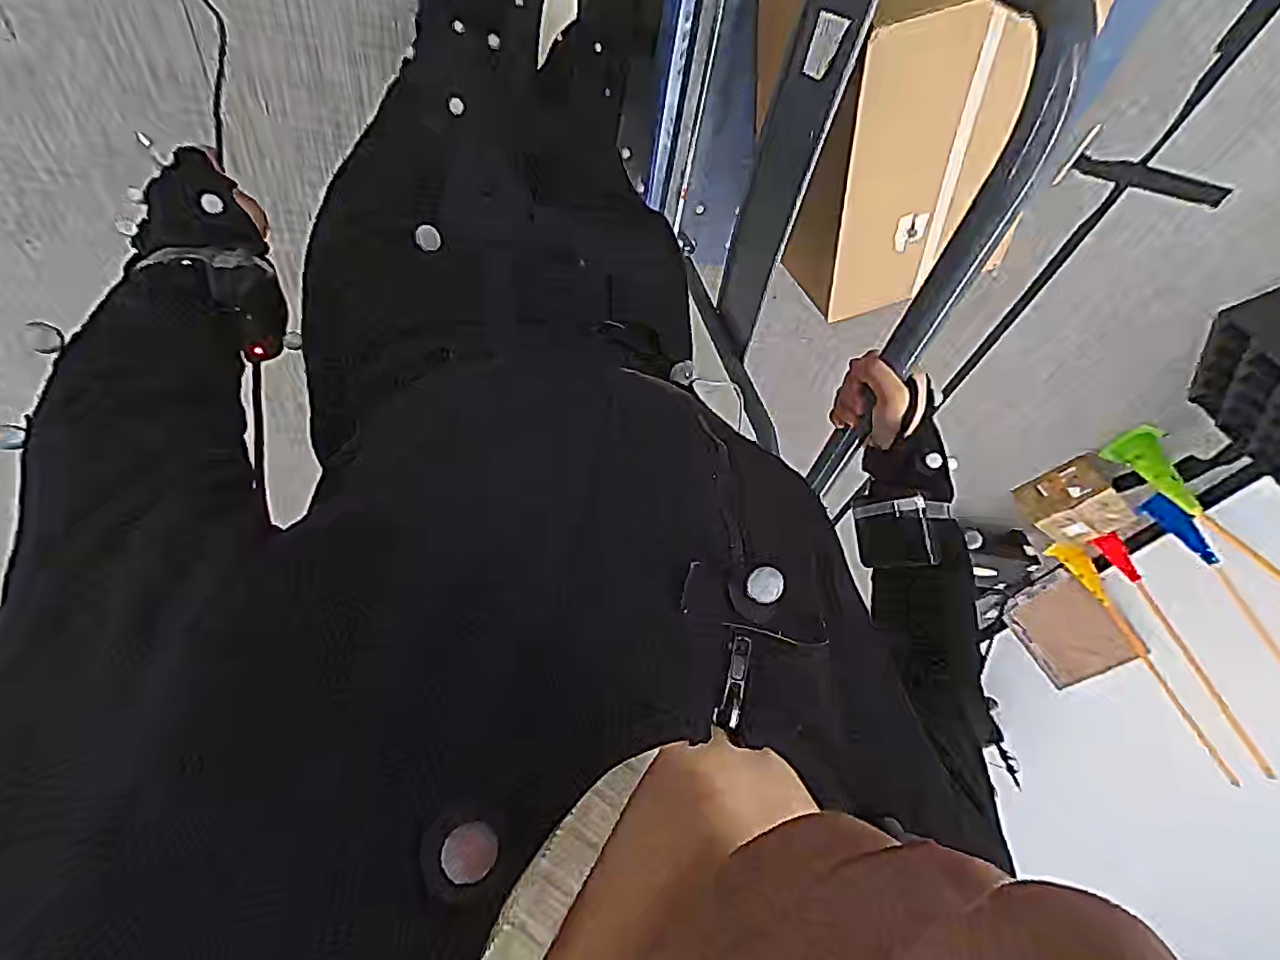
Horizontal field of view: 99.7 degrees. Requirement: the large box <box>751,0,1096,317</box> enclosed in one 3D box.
[{"bbox_3d":[0.376,-0.545,0.839,0.320,0.320,0.408,-18,145,-1],"label":"large box"}]
